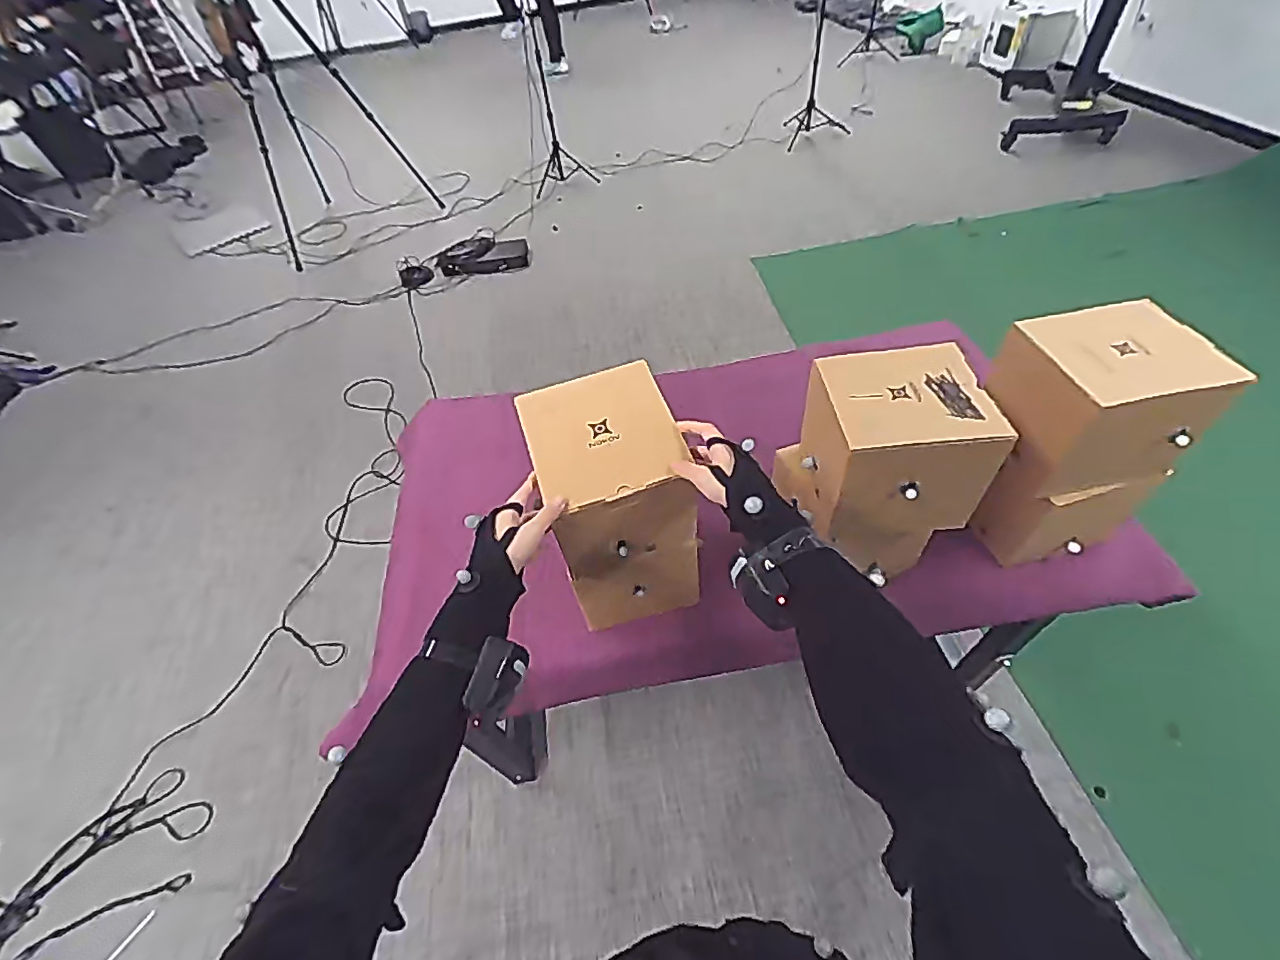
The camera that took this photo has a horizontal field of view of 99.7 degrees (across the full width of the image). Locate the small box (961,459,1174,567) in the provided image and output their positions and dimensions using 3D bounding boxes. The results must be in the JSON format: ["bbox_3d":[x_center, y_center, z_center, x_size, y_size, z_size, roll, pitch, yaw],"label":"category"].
[{"bbox_3d":[0.607,0.006,0.812,0.179,0.176,0.168,-14,49,-4],"label":"small box"}]

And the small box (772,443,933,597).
[{"bbox_3d":[0.312,0.047,0.819,0.168,0.176,0.179,-16,49,-5],"label":"small box"}]

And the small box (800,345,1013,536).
[{"bbox_3d":[0.313,-0.045,0.680,0.179,0.176,0.168,-5,49,4],"label":"small box"}]

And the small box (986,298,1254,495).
[{"bbox_3d":[0.576,-0.102,0.692,0.179,0.176,0.168,-10,50,1],"label":"small box"}]
